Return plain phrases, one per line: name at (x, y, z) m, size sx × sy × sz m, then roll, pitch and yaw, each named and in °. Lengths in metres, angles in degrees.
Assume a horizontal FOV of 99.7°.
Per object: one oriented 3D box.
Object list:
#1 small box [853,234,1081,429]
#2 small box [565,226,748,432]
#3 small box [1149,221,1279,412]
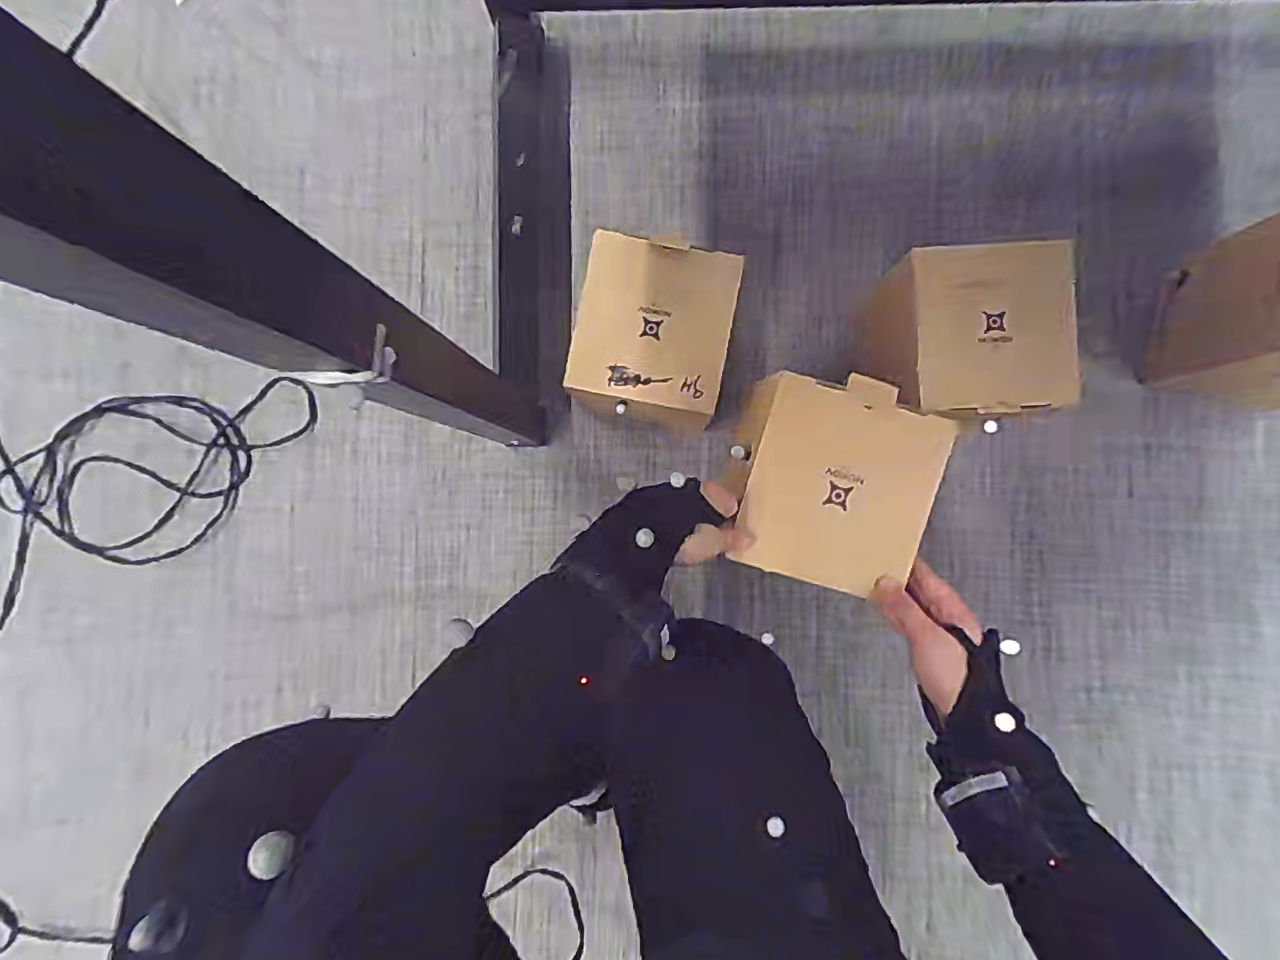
small box at (0.364, -0.157, 0.631) m, size 0.168 × 0.176 × 0.179 m, roll 2°, pitch 86°, yaw -3°
small box at (0.020, -0.166, 0.646) m, size 0.168 × 0.176 × 0.179 m, roll 11°, pitch 88°, yaw 3°
small box at (0.754, -0.182, 0.622) m, size 0.179 × 0.176 × 0.168 m, roll 14°, pitch 89°, yaw 1°
